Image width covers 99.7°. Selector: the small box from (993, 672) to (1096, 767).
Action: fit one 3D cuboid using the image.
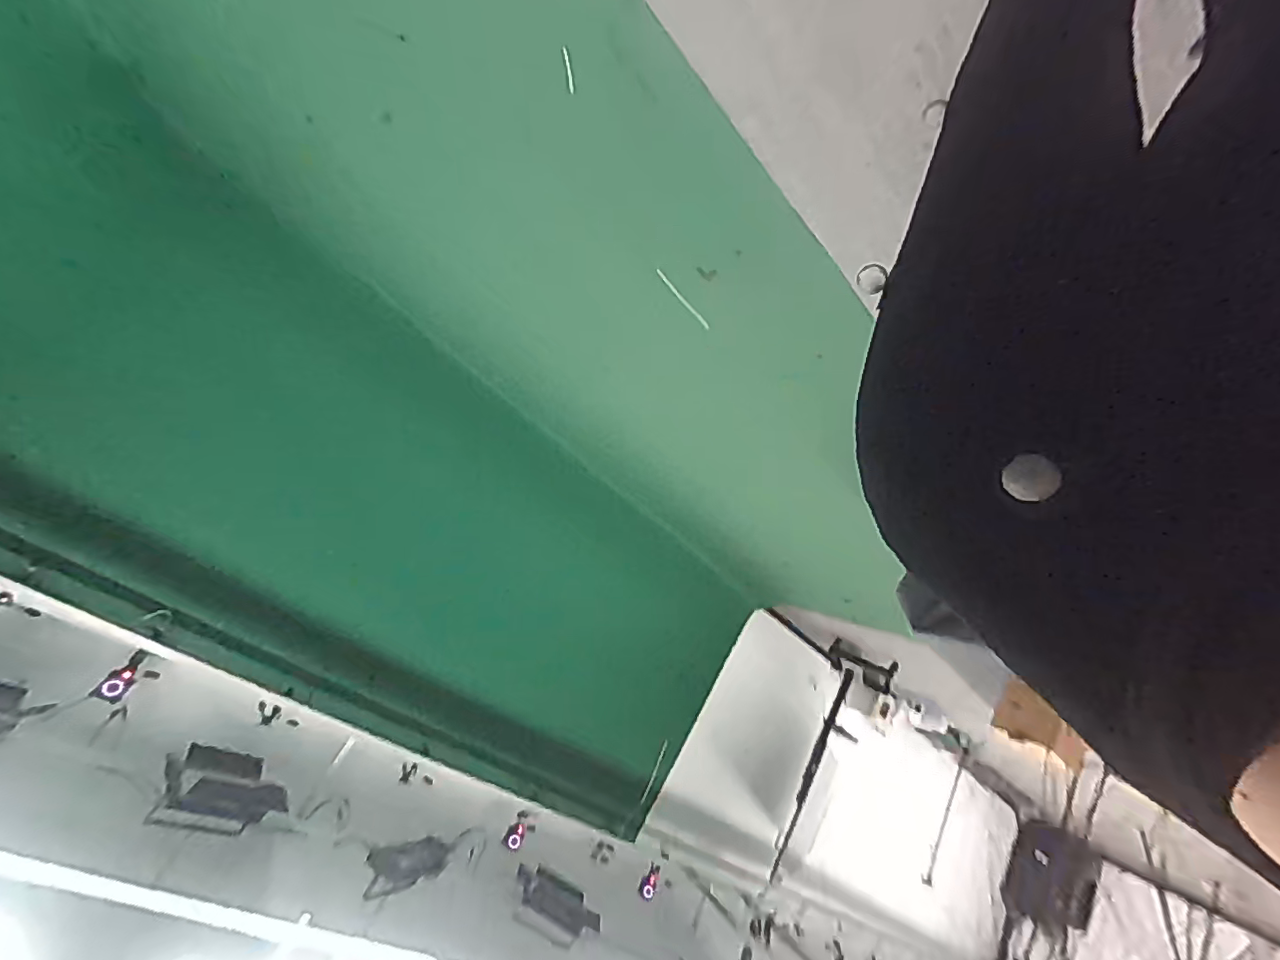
[{"bbox_3d":[1.157,0.676,1.545,0.179,0.176,0.168,38,164,-24],"label":"small box"}]
